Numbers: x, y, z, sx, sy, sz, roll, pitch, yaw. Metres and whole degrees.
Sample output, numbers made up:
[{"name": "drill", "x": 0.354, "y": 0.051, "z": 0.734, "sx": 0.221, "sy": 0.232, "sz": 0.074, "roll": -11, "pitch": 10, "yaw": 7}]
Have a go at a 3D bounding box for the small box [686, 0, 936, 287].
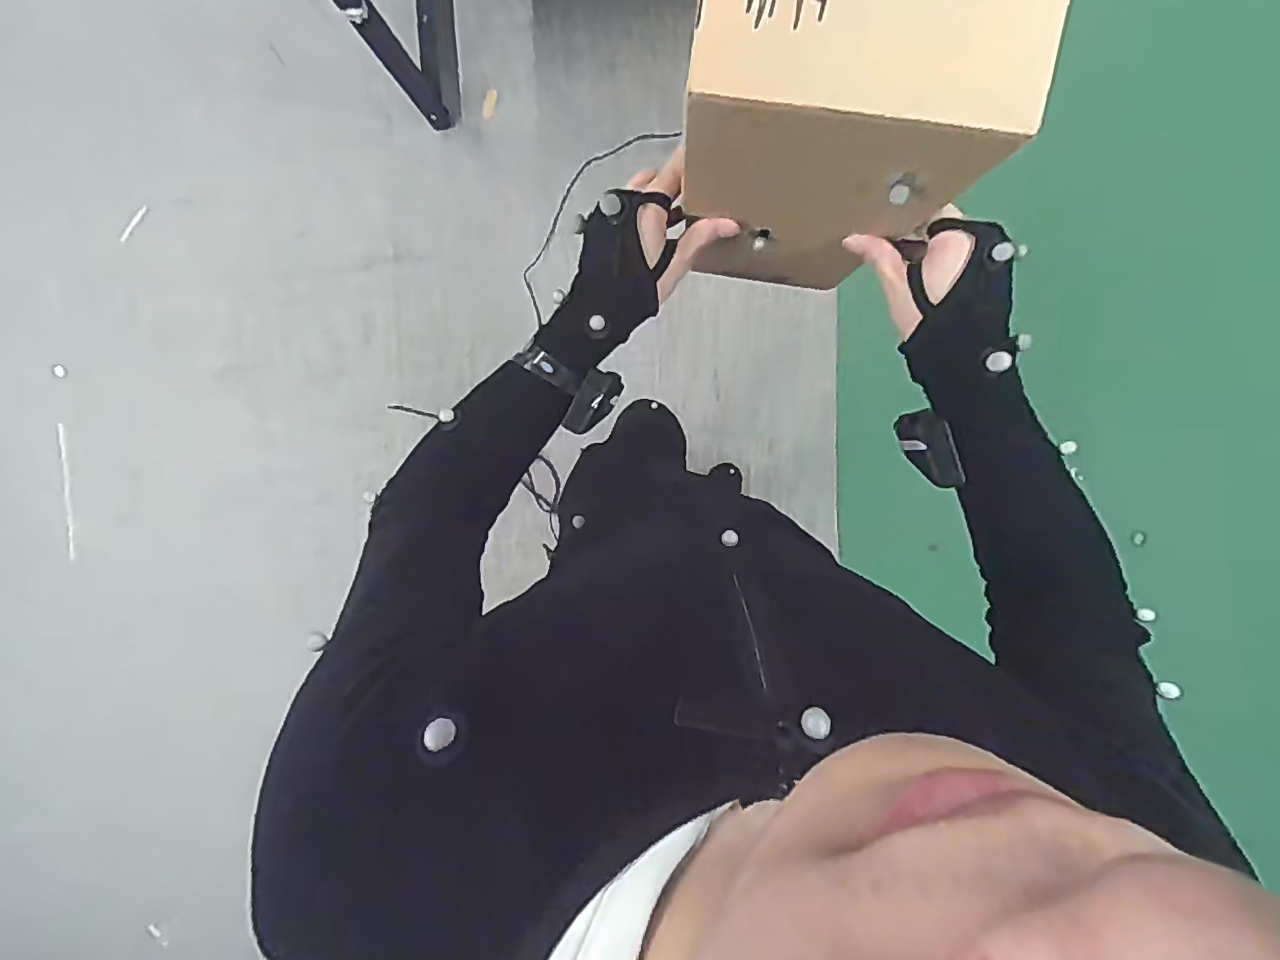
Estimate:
[{"name": "small box", "x": 0.135, "y": -0.296, "z": 0.497, "sx": 0.168, "sy": 0.176, "sz": 0.179, "roll": 9, "pitch": 97, "yaw": 4}]
